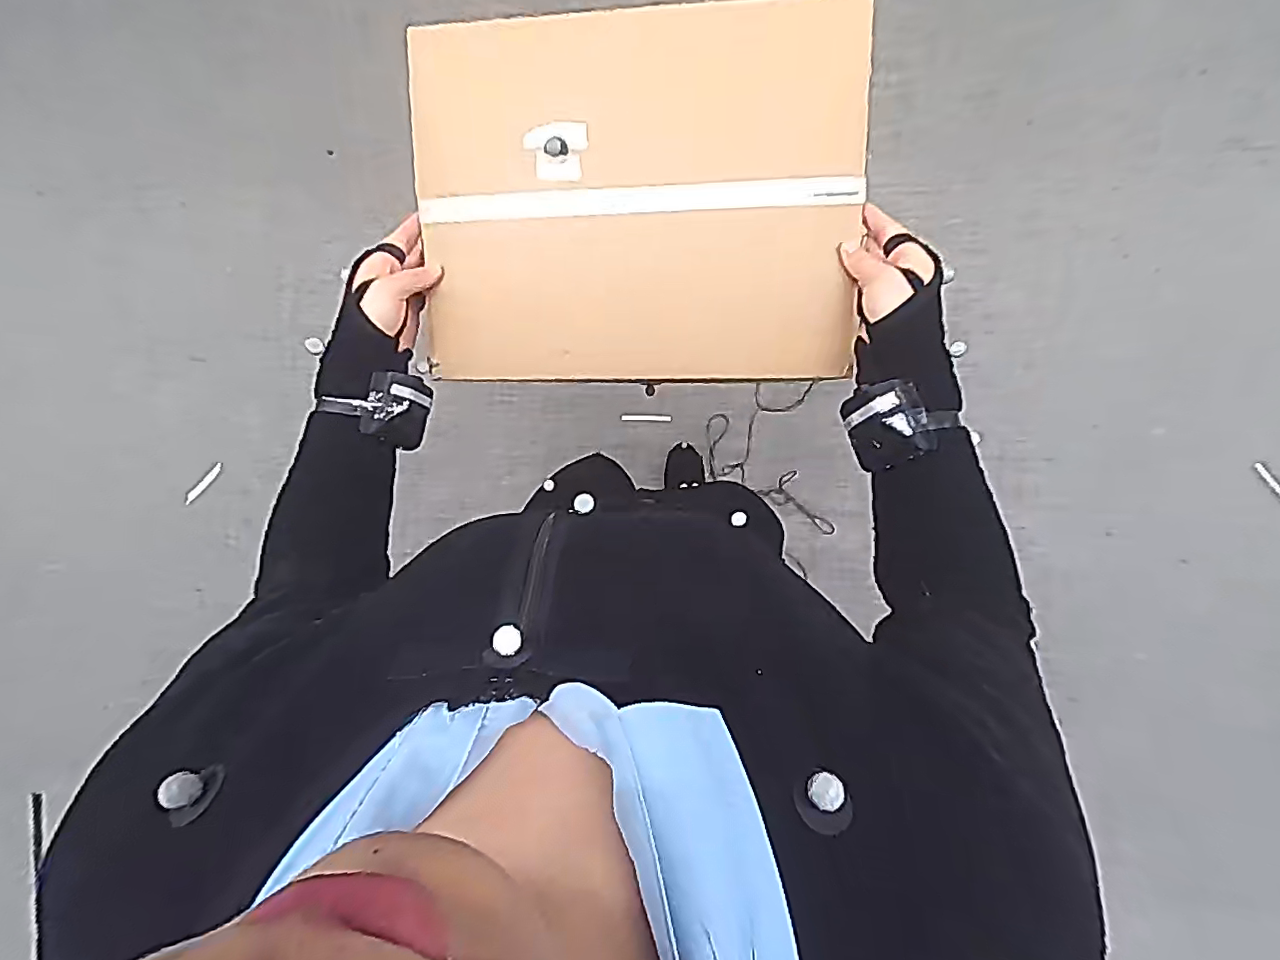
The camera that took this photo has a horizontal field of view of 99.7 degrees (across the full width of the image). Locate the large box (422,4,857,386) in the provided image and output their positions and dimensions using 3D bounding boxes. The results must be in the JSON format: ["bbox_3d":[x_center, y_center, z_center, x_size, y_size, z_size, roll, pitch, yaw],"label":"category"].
[{"bbox_3d":[0.014,-0.276,0.652,0.408,0.320,0.320,0,98,7],"label":"large box"}]
